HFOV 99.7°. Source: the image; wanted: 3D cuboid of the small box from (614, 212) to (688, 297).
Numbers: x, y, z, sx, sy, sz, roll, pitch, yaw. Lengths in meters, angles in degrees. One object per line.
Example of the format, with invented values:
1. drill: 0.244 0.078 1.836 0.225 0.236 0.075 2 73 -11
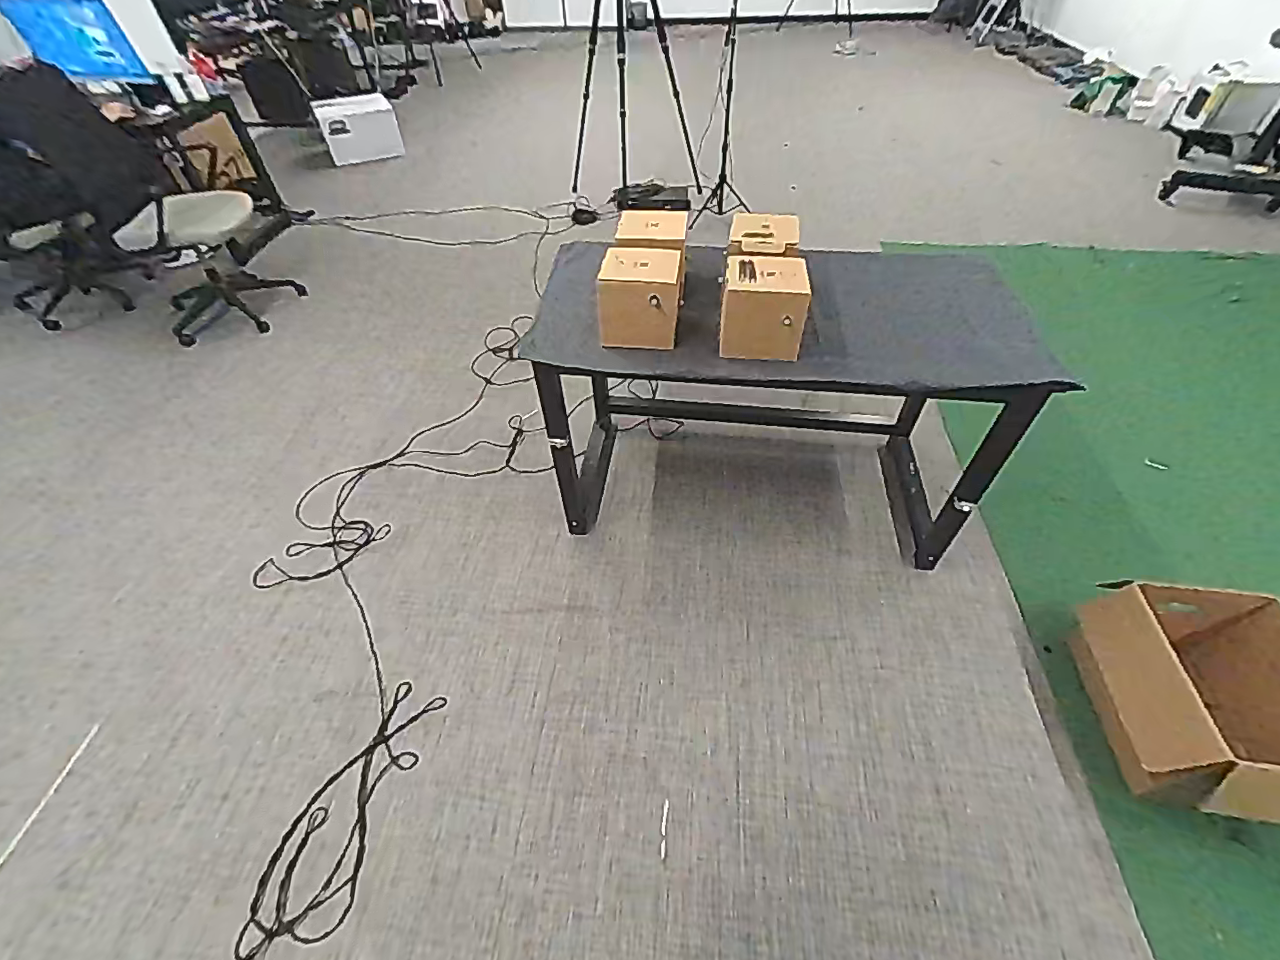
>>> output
1. small box: 0.033 -0.584 1.424 0.179 0.176 0.168 3 48 6

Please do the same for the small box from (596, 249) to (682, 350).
1. small box: 0.001 -0.423 1.272 0.179 0.176 0.168 4 46 5

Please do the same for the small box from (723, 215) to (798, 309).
1. small box: 0.307 -0.557 1.388 0.168 0.176 0.179 7 48 9
